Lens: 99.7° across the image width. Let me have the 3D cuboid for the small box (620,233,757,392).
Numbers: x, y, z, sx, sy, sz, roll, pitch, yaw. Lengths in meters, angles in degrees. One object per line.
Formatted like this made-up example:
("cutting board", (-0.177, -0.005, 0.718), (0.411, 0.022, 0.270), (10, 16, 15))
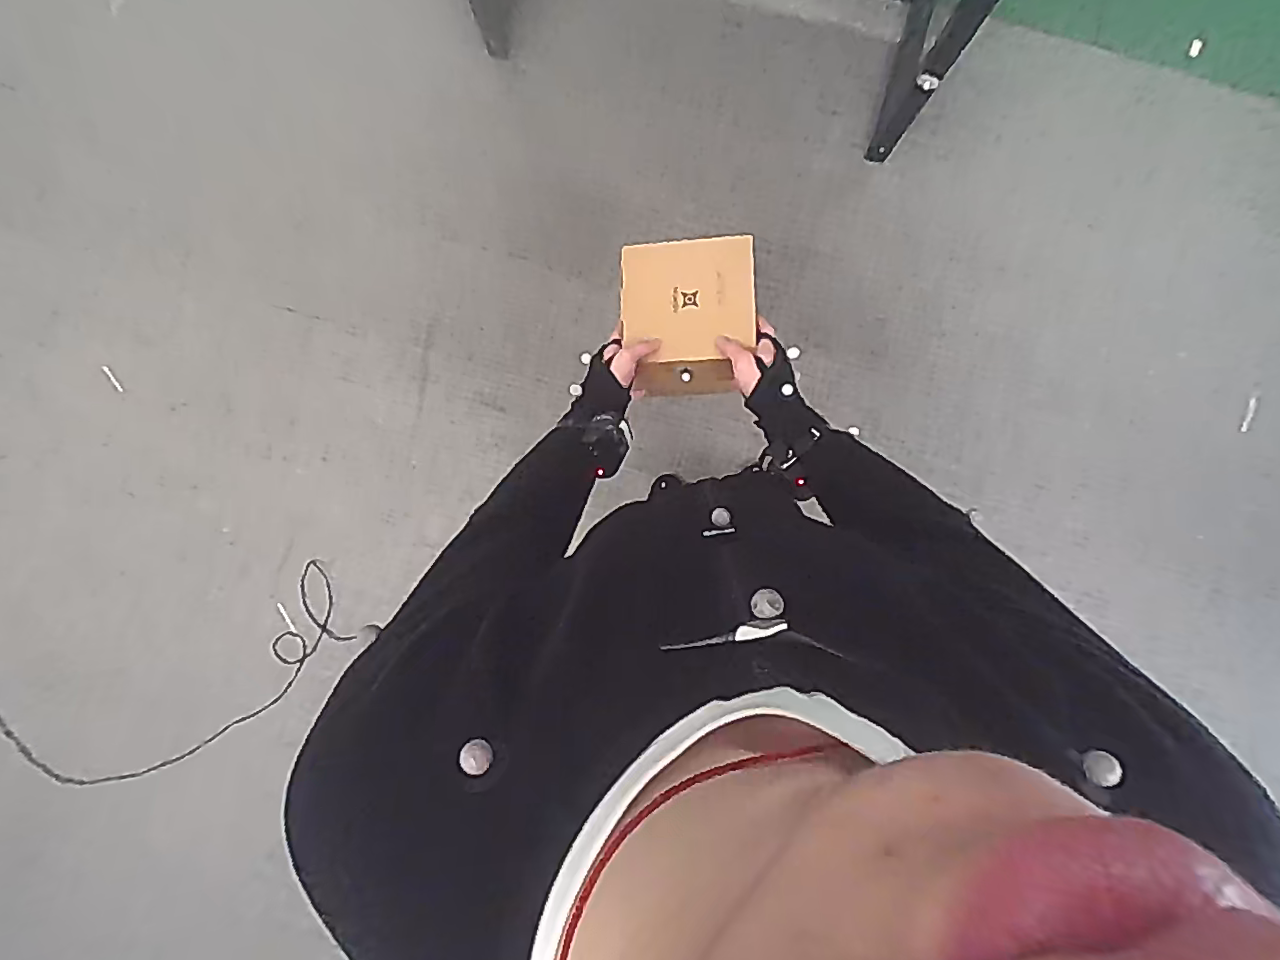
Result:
("small box", (0.071, -0.230, 0.787), (0.179, 0.176, 0.168), (-3, 84, 5))
